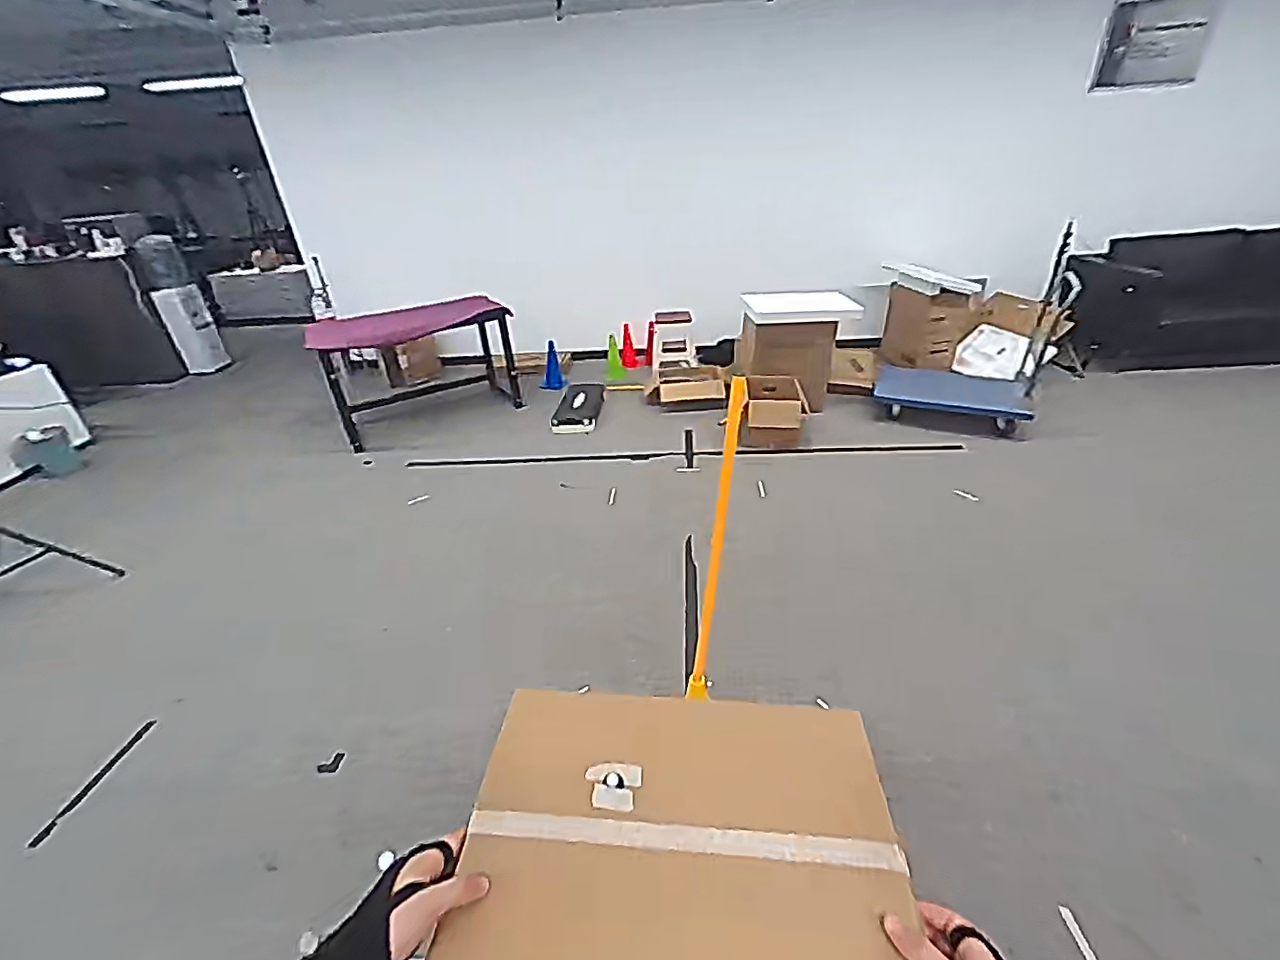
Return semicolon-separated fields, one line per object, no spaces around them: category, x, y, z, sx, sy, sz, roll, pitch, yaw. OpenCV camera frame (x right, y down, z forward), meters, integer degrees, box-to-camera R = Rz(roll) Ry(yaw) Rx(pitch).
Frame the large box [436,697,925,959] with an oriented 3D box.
large box;0.046;0.469;0.591;0.408;0.320;0.320;0;31;6
